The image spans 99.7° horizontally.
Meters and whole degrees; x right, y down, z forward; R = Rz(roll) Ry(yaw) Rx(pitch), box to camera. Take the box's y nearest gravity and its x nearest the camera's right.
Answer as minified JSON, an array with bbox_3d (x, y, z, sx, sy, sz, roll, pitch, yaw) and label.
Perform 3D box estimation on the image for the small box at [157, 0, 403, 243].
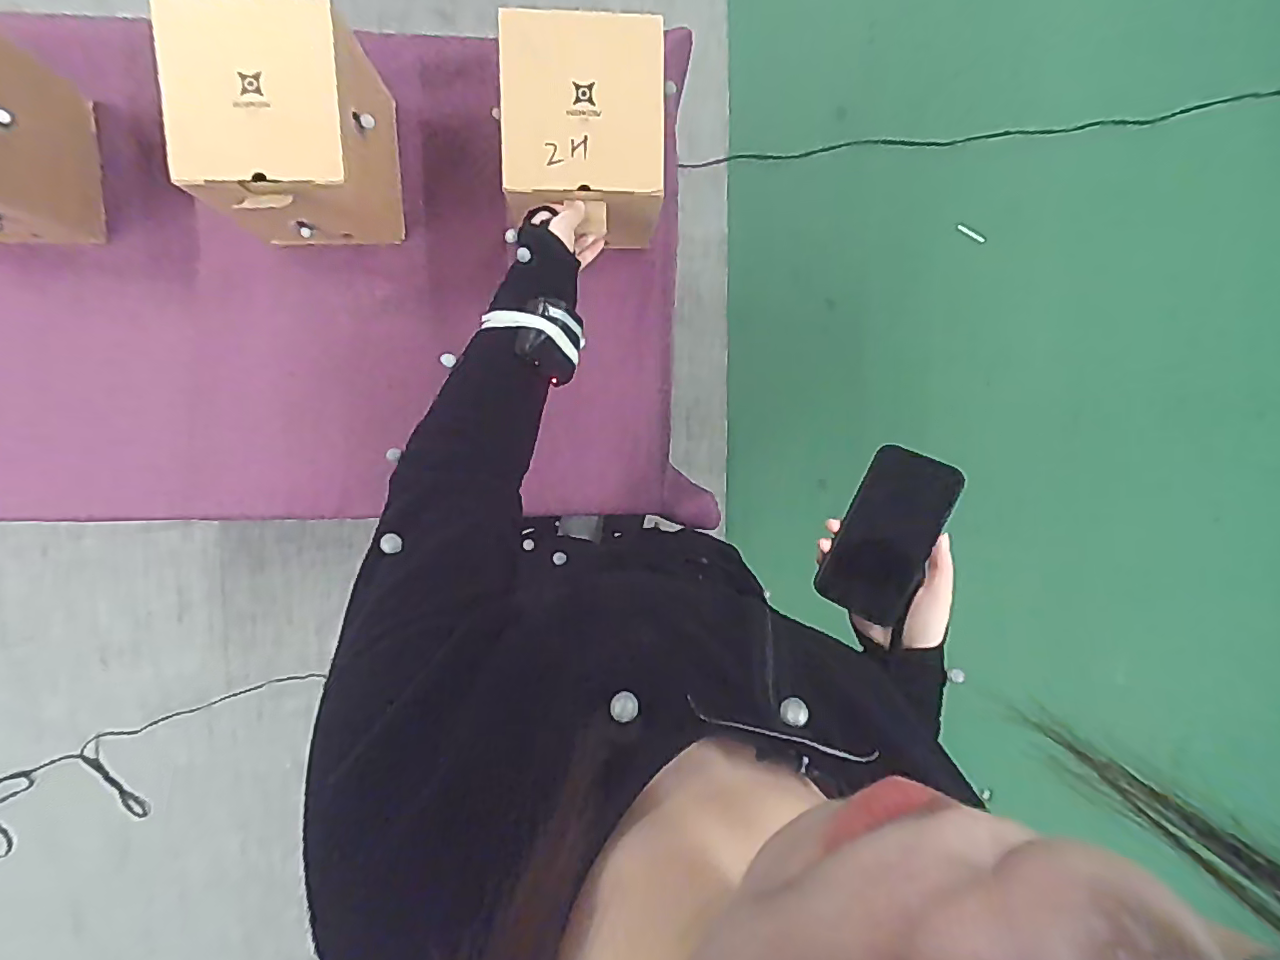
[{"bbox_3d":[-0.380,-0.385,0.603,0.168,0.176,0.179,-2,96,-4],"label":"small box"}]

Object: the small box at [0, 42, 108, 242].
[{"bbox_3d":[-0.729,-0.371,0.578,0.168,0.176,0.179,0,95,-5],"label":"small box"}]

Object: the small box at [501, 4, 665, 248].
[{"bbox_3d":[-0.063,-0.388,0.622,0.168,0.176,0.179,0,95,-3],"label":"small box"}]
